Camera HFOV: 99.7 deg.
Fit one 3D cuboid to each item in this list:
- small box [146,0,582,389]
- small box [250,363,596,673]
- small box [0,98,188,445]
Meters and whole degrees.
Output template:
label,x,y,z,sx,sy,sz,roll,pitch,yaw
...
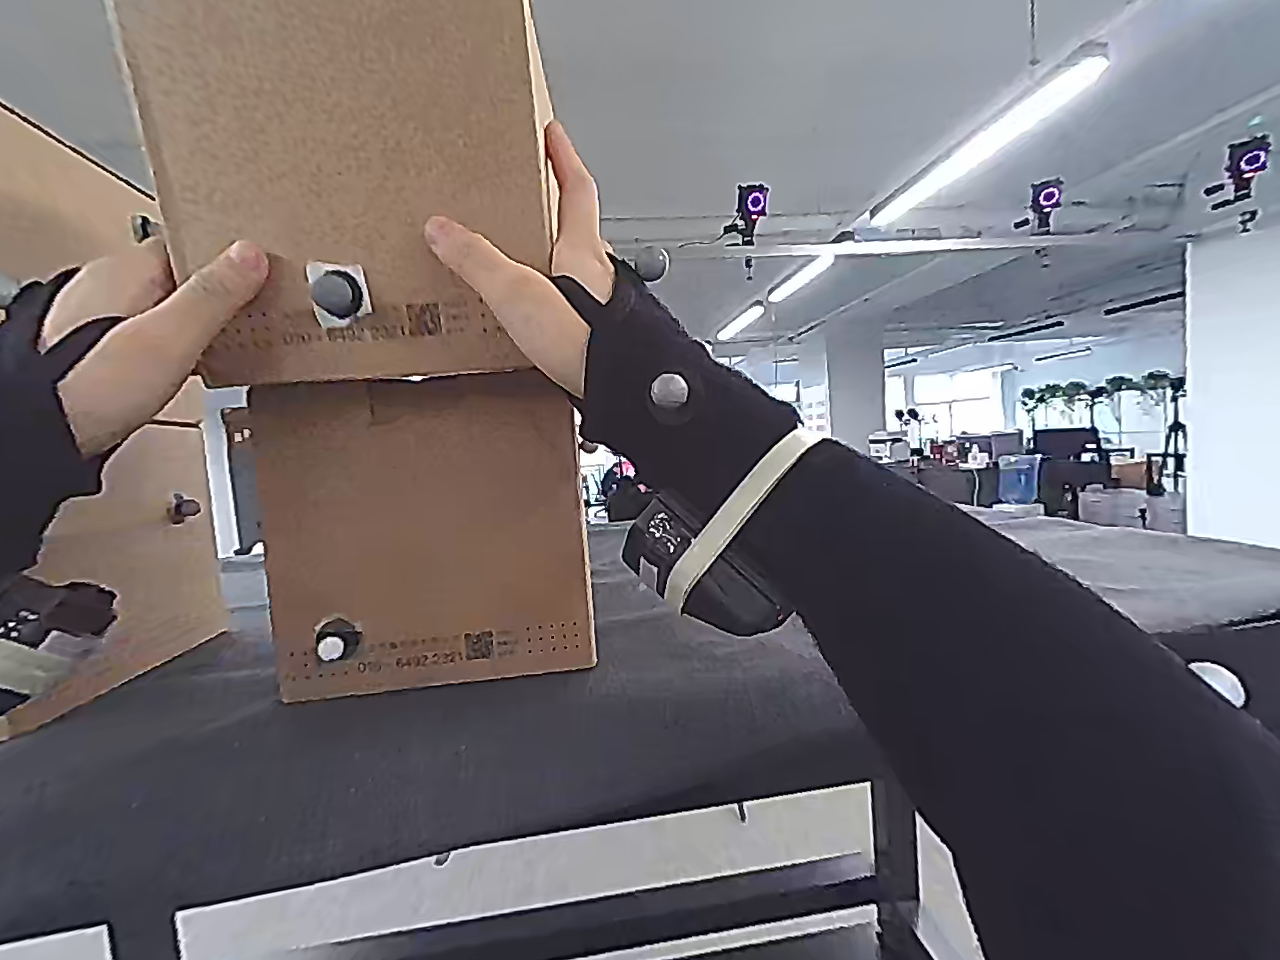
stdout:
label,x,y,z,sx,sy,sz,roll,pitch,yaw
small box,-0.126,-0.141,0.321,0.168,0.176,0.179,-6,9,-4
small box,-0.120,0.022,0.369,0.168,0.176,0.179,-5,2,-6
small box,-0.417,-0.113,0.324,0.168,0.176,0.179,-5,2,-7
